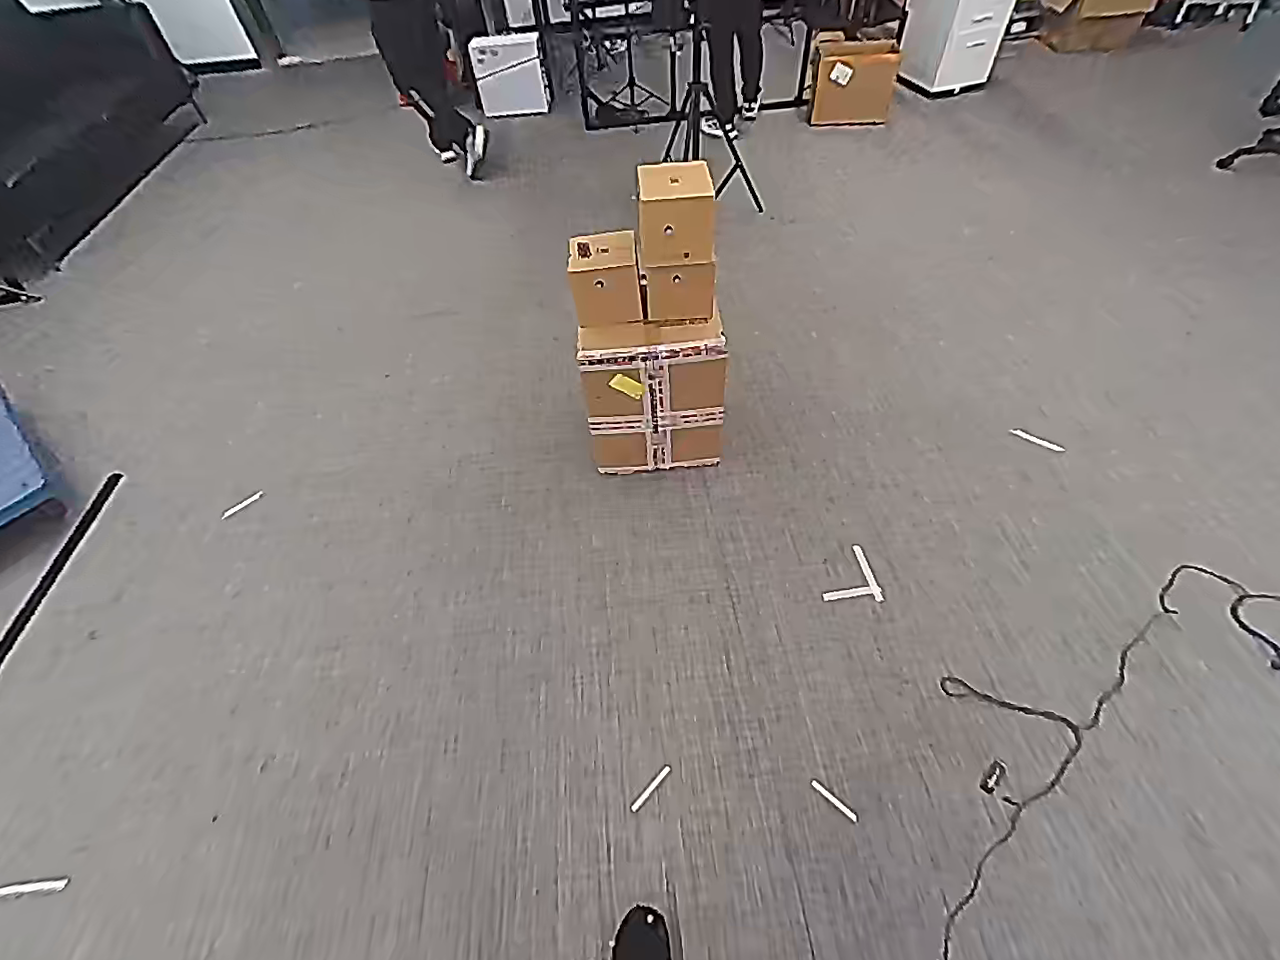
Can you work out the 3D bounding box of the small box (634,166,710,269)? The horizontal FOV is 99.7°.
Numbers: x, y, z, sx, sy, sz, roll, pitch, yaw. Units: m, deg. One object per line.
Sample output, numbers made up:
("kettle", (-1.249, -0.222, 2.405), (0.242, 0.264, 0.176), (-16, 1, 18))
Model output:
("small box", (0.076, -0.626, 1.304), (0.168, 0.176, 0.179), (-5, 52, 0))
